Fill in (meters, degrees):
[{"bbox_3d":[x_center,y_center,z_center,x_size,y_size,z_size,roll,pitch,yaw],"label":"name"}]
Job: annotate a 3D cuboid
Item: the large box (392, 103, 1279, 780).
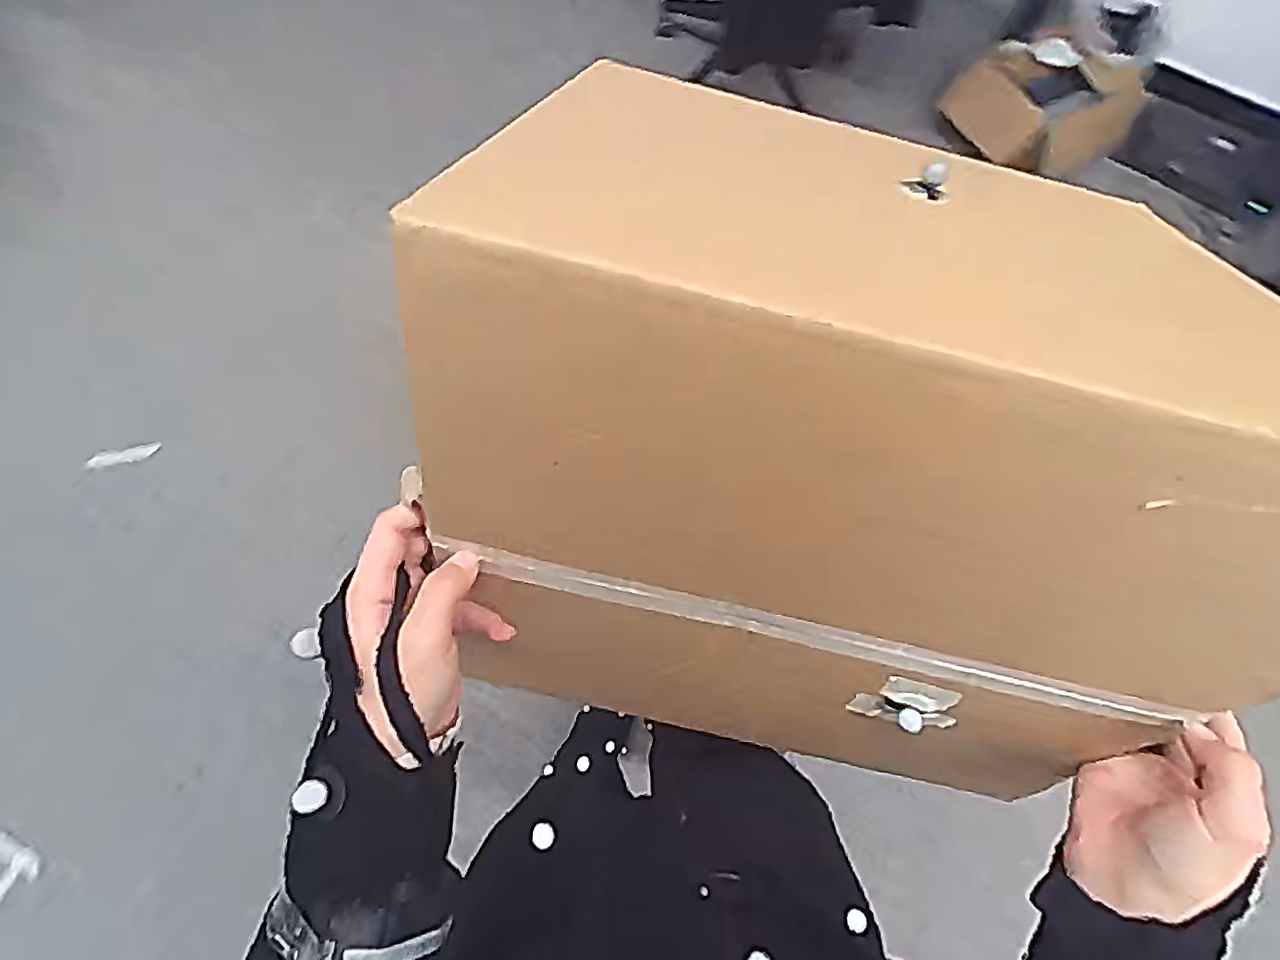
[{"bbox_3d":[0.105,-0.028,0.388,0.408,0.320,0.320,12,46,-2],"label":"large box"}]
